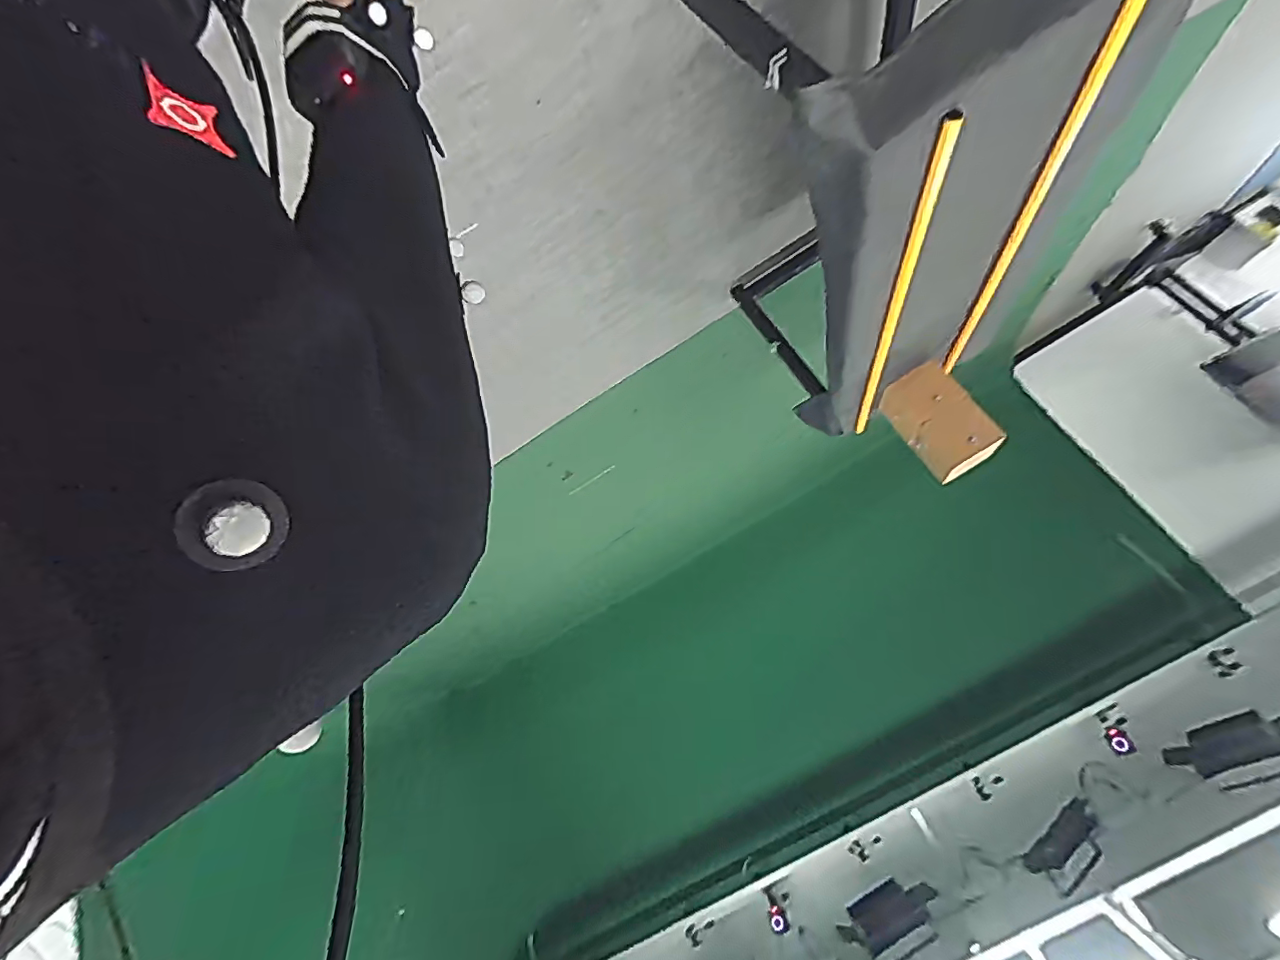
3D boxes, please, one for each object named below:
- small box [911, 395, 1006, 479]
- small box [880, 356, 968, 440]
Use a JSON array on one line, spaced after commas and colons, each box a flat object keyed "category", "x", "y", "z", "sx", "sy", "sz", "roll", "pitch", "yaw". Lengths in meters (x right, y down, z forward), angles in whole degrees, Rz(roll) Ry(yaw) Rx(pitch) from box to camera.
[{"category": "small box", "x": 0.992, "y": -0.136, "z": 1.700, "sx": 0.179, "sy": 0.176, "sz": 0.168, "roll": -33, "pitch": 155, "yaw": 6}, {"category": "small box", "x": 0.914, "y": -0.266, "z": 1.760, "sx": 0.179, "sy": 0.176, "sz": 0.168, "roll": -32, "pitch": 156, "yaw": 4}]
